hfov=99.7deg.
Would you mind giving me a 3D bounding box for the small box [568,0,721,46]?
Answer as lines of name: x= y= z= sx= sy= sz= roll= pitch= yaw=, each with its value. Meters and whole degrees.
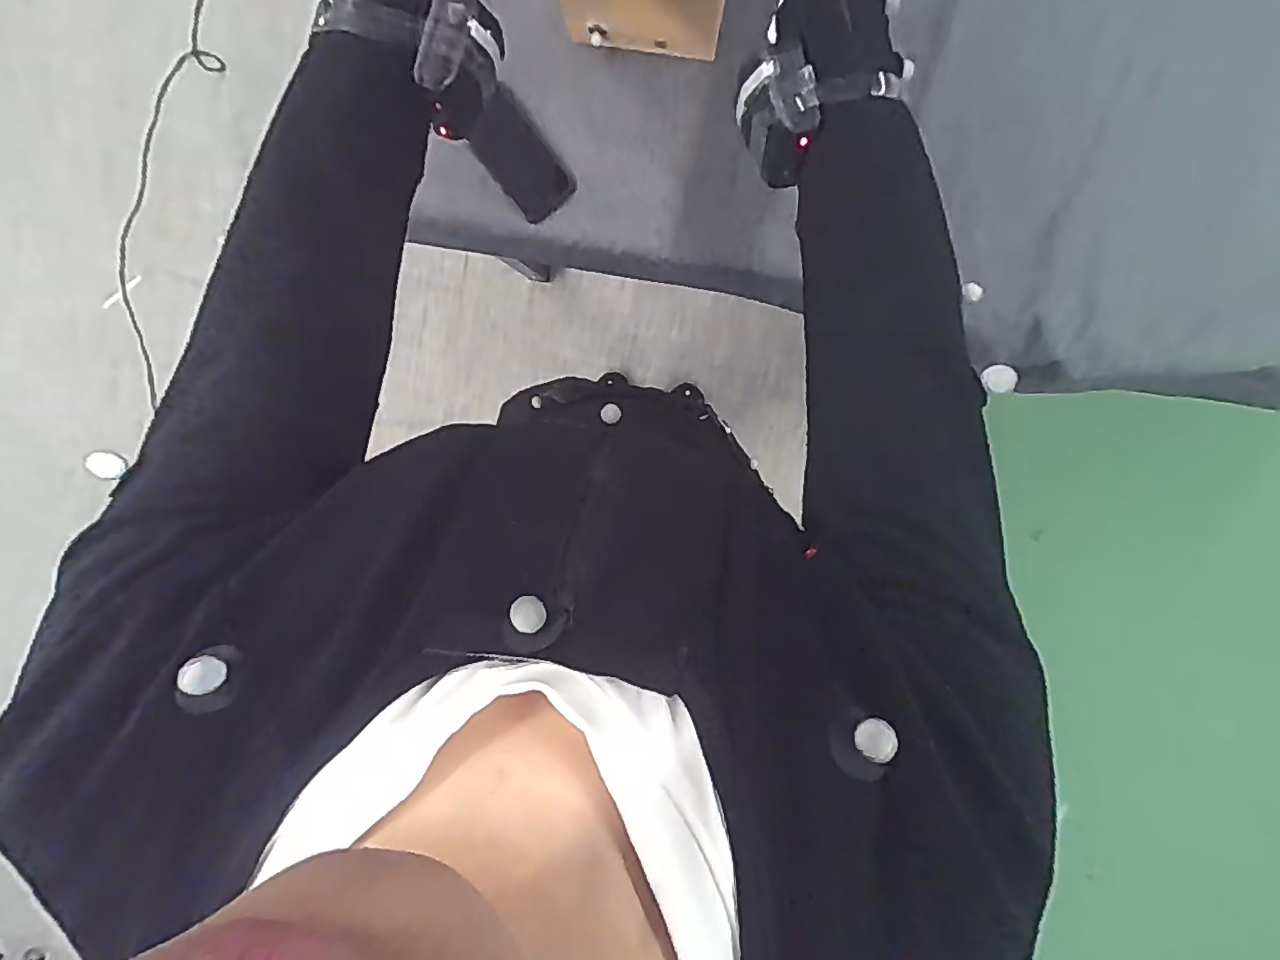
small box: x=0.011 y=-0.568 z=0.523 sx=0.168 sy=0.176 sz=0.179 roll=8 pitch=102 yaw=0
